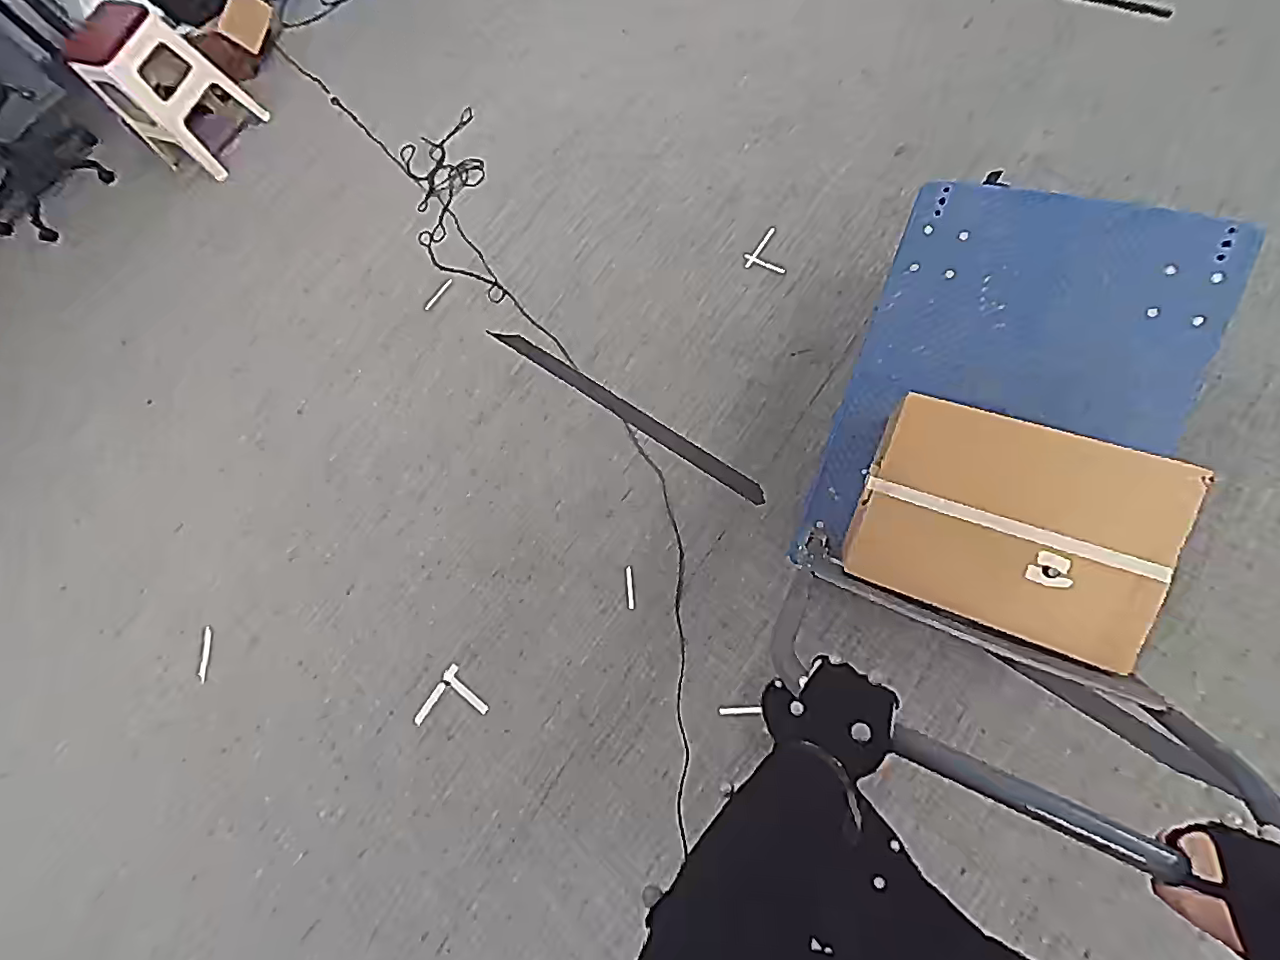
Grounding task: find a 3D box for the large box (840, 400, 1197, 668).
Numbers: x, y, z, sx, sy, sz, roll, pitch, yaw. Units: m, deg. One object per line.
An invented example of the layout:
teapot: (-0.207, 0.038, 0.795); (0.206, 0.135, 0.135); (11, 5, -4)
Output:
large box: (0.611, 0.075, 0.976); (0.408, 0.320, 0.320); (20, 96, 18)
